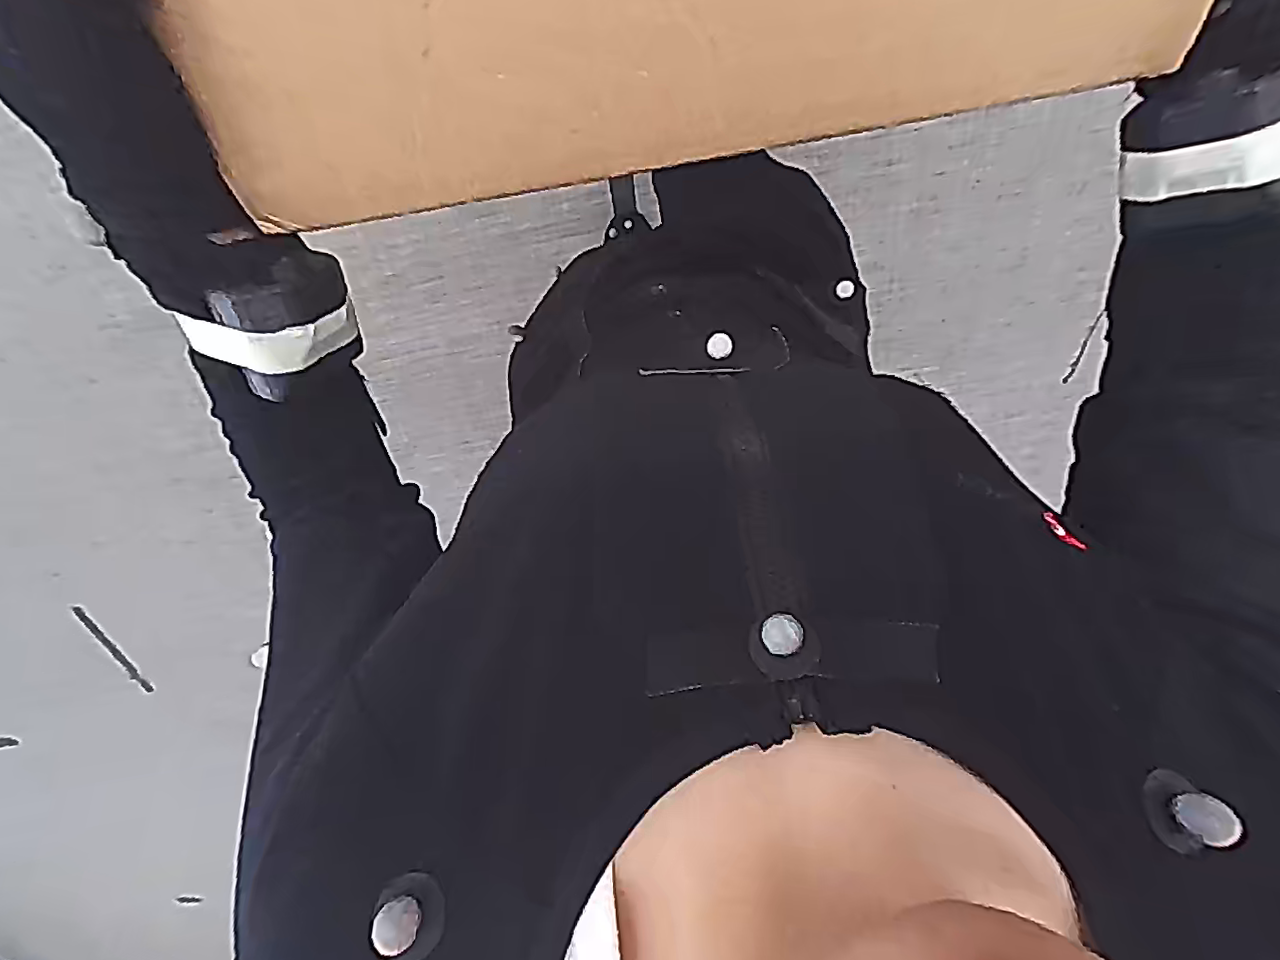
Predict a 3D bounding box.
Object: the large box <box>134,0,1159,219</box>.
[{"bbox_3d":[-0.009,-0.364,0.236,0.408,0.320,0.320,-8,136,2],"label":"large box"}]
